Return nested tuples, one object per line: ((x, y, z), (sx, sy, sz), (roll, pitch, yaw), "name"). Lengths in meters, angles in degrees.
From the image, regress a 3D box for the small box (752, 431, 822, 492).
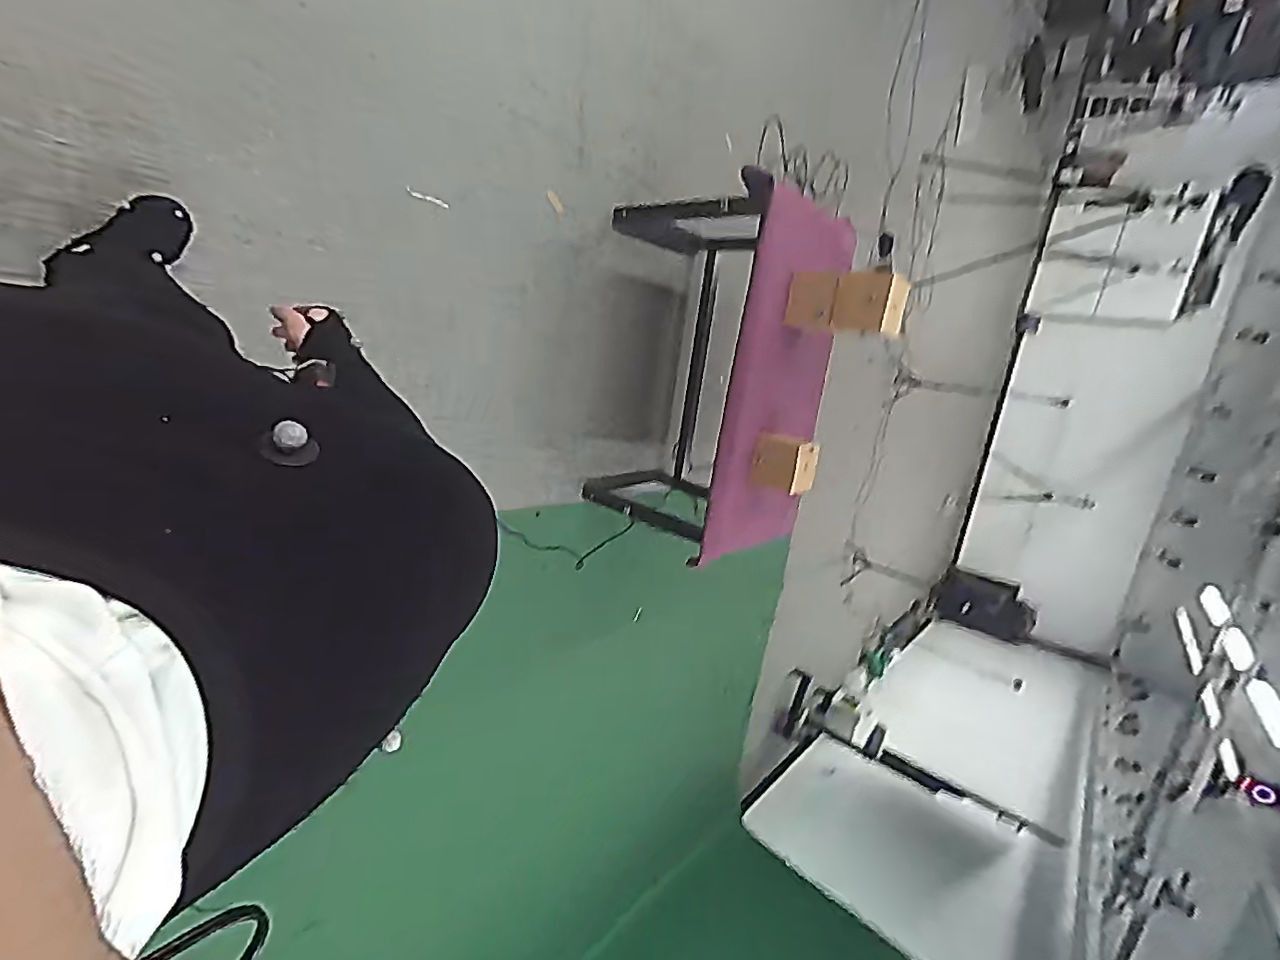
((0.516, -0.071, 1.922), (0.168, 0.176, 0.179), (-8, 111, -48), "small box")

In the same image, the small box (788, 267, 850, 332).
((0.618, -0.606, 1.816), (0.168, 0.176, 0.179), (-6, 110, -48), "small box")

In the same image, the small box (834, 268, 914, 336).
((0.734, -0.563, 1.711), (0.168, 0.176, 0.179), (-6, 109, -47), "small box")
